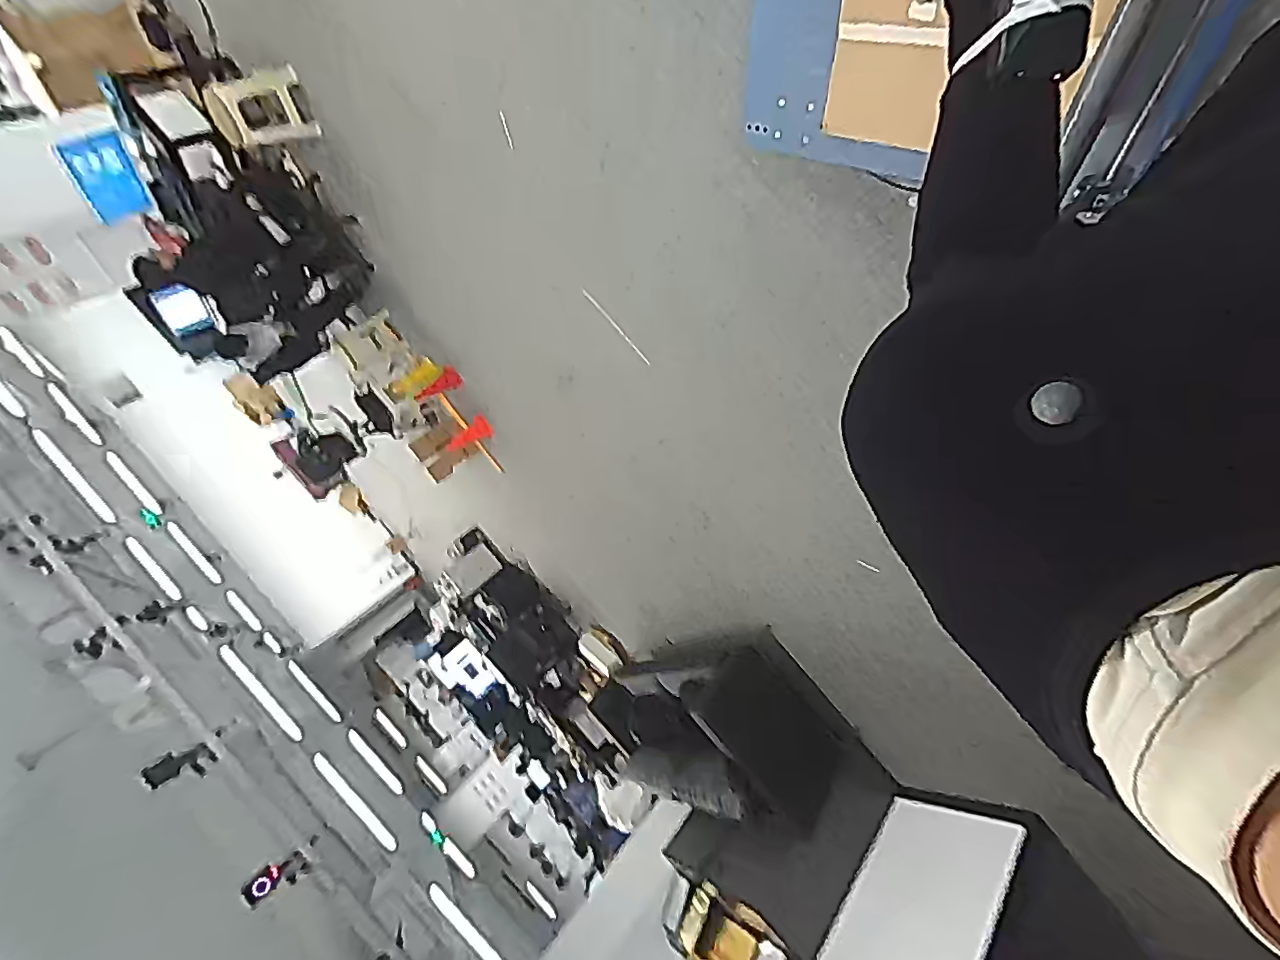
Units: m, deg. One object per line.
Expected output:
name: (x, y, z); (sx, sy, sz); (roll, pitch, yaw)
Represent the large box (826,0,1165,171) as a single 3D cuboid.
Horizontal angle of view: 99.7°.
large box: (0.593, -0.757, 0.899); (0.408, 0.320, 0.320); (33, 145, 29)
